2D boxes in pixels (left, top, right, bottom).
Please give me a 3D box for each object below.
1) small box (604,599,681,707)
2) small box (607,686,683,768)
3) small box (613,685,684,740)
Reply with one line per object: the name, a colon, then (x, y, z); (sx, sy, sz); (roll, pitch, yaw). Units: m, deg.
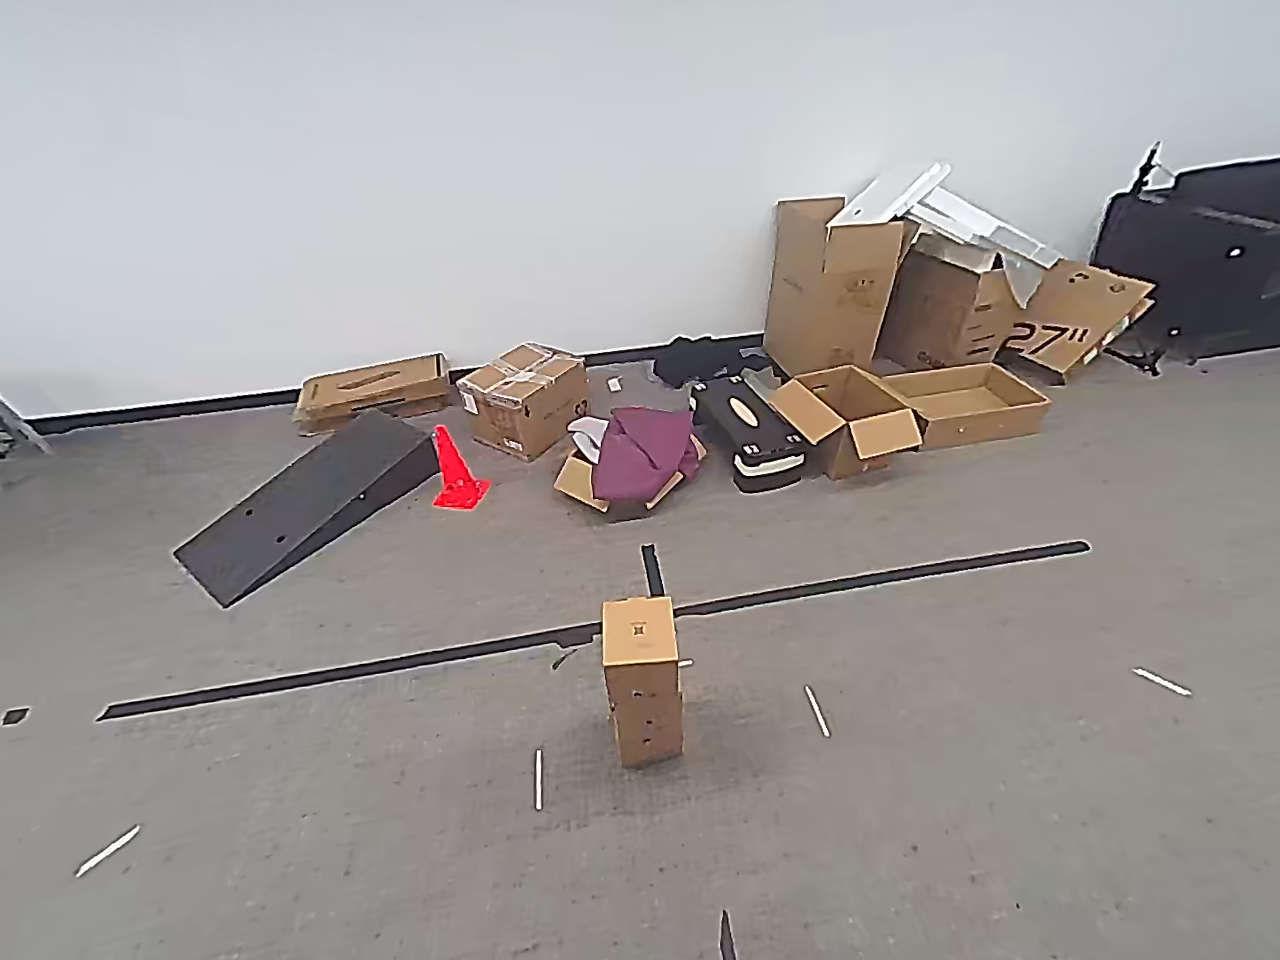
small box: (0.004, 0.404, 1.263); (0.168, 0.176, 0.179); (-5, 40, -1)
small box: (0.015, 0.656, 1.472); (0.179, 0.176, 0.168); (-10, 39, -9)
small box: (0.012, 0.526, 1.371); (0.168, 0.176, 0.179); (-8, 39, -5)
